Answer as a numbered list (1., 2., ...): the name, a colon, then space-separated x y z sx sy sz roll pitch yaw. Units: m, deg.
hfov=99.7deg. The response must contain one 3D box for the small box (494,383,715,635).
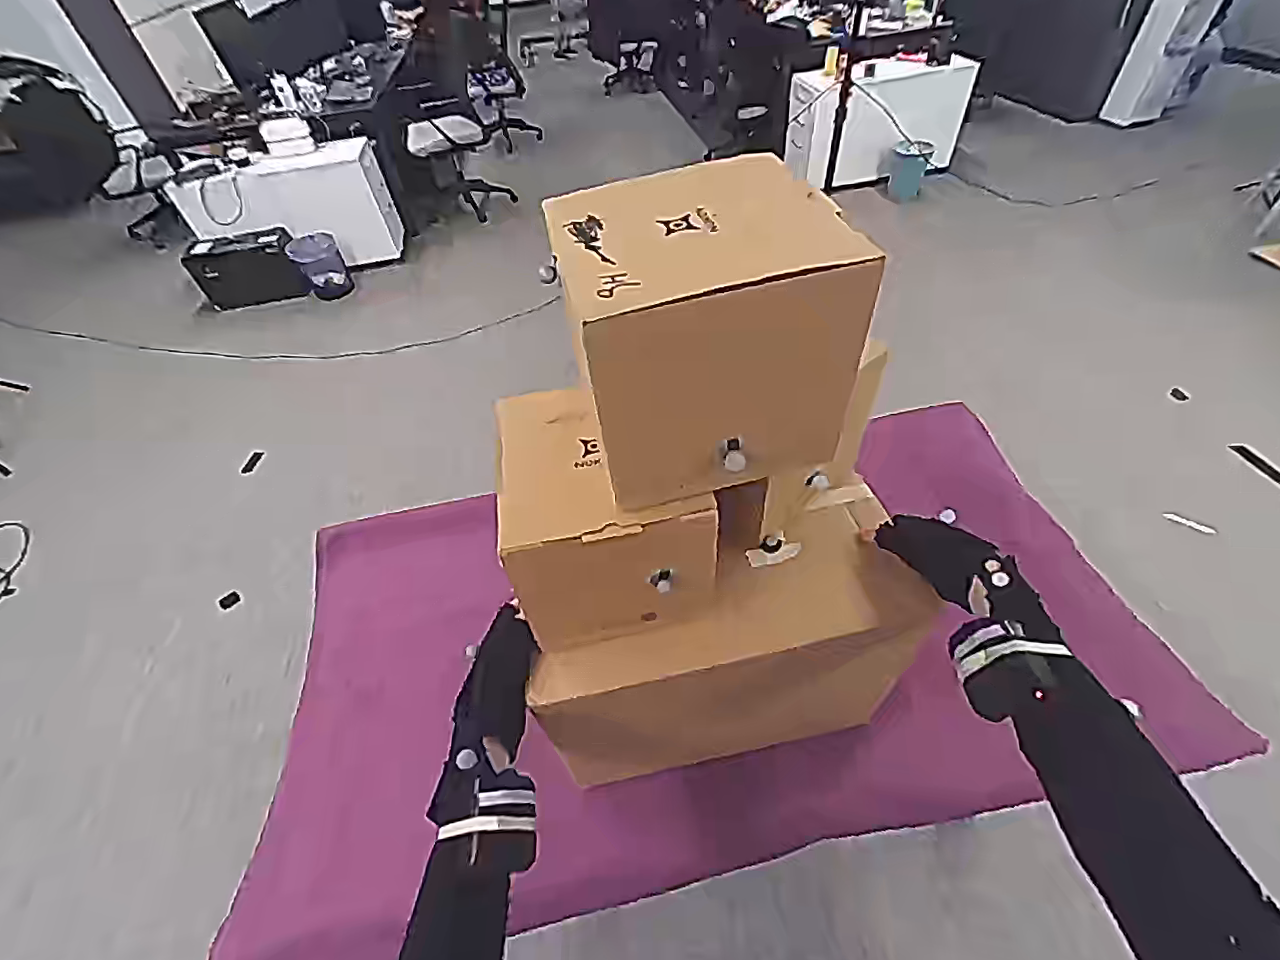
1. small box: -0.033 0.027 0.503 0.168 0.176 0.179 -11 47 -6

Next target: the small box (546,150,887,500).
1. small box: 0.040 -0.110 0.396 0.179 0.176 0.168 -13 49 -5

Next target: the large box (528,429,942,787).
1. large box: 0.076 0.152 0.706 0.408 0.320 0.320 -11 49 -5
